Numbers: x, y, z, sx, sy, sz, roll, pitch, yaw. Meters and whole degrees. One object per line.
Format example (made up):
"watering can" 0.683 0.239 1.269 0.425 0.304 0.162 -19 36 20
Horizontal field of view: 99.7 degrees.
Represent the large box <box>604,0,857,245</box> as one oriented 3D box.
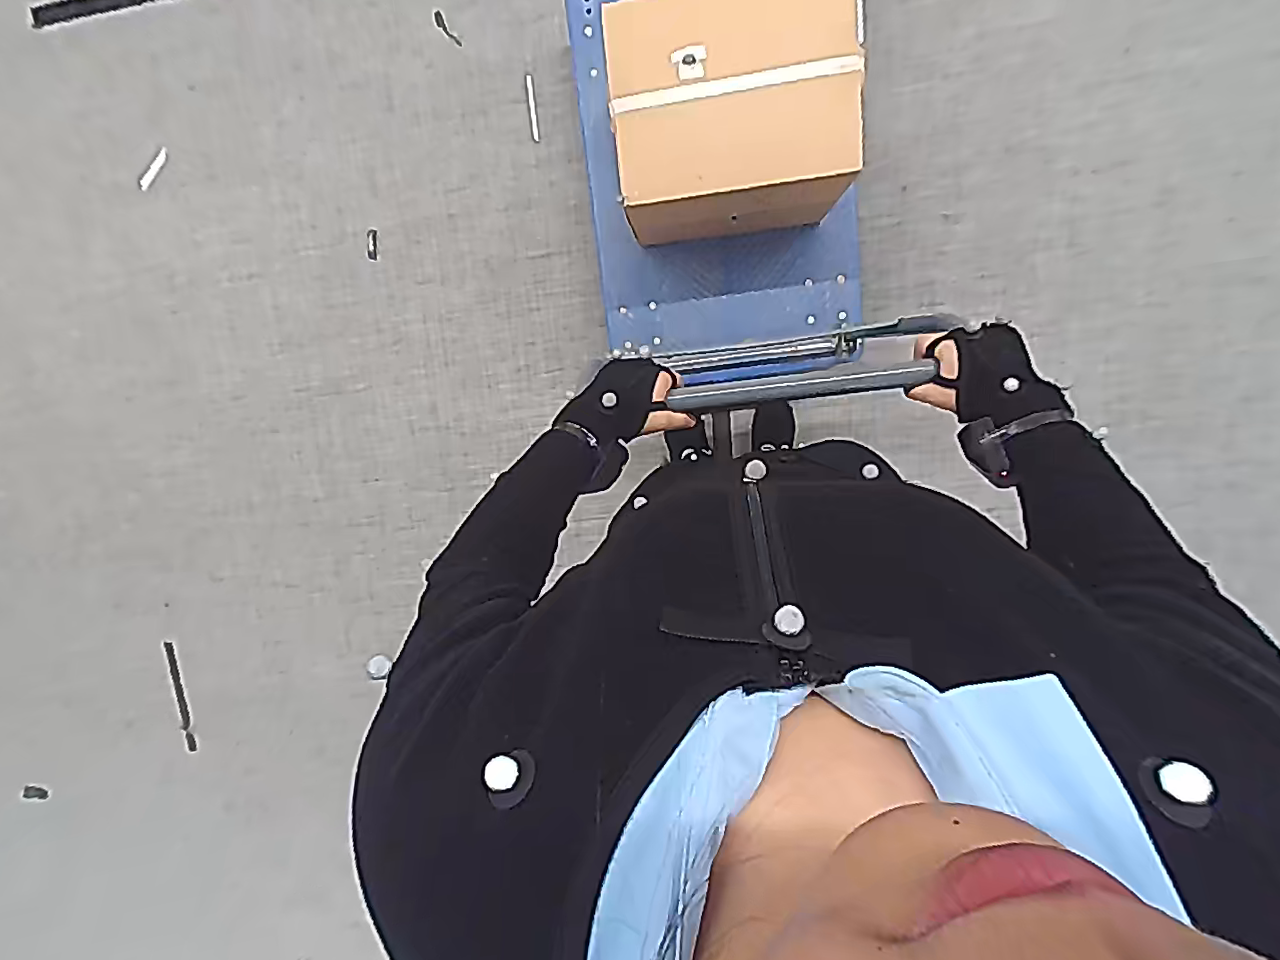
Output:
"large box" 0.170 -0.679 1.055 0.408 0.320 0.320 -6 99 8
